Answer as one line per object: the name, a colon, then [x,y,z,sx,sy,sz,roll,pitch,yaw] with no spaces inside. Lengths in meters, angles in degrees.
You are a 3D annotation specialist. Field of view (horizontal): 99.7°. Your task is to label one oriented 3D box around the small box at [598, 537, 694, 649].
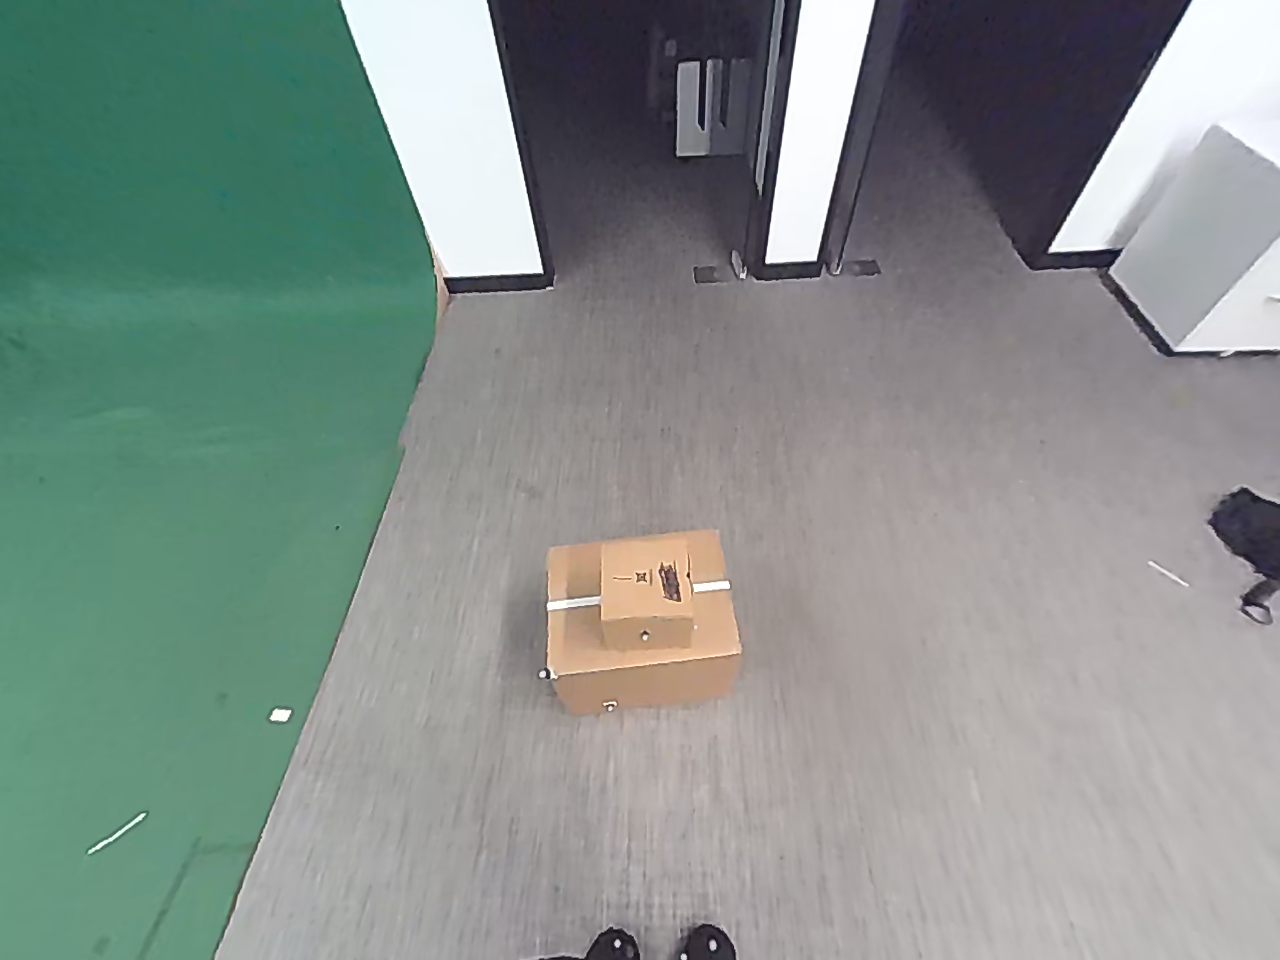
small box: [0.009,0.233,1.101,0.179,0.176,0.168,-5,54,-2]
